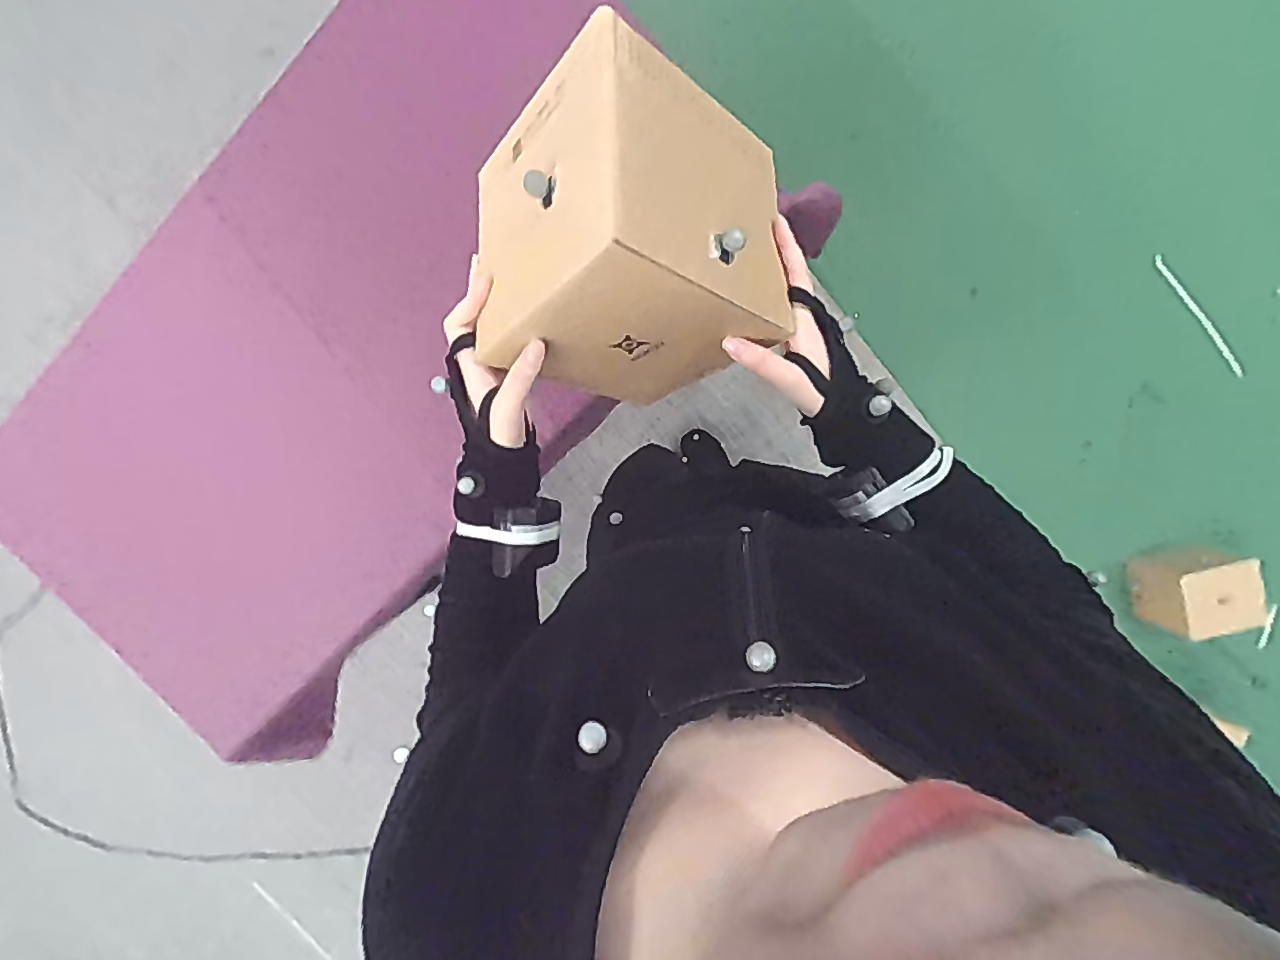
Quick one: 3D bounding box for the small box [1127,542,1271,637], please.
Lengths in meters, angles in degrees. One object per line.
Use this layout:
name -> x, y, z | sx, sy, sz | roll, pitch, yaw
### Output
small box -> 1.384, 0.265, 1.349 | 0.179, 0.176, 0.168 | -16, 95, 6
